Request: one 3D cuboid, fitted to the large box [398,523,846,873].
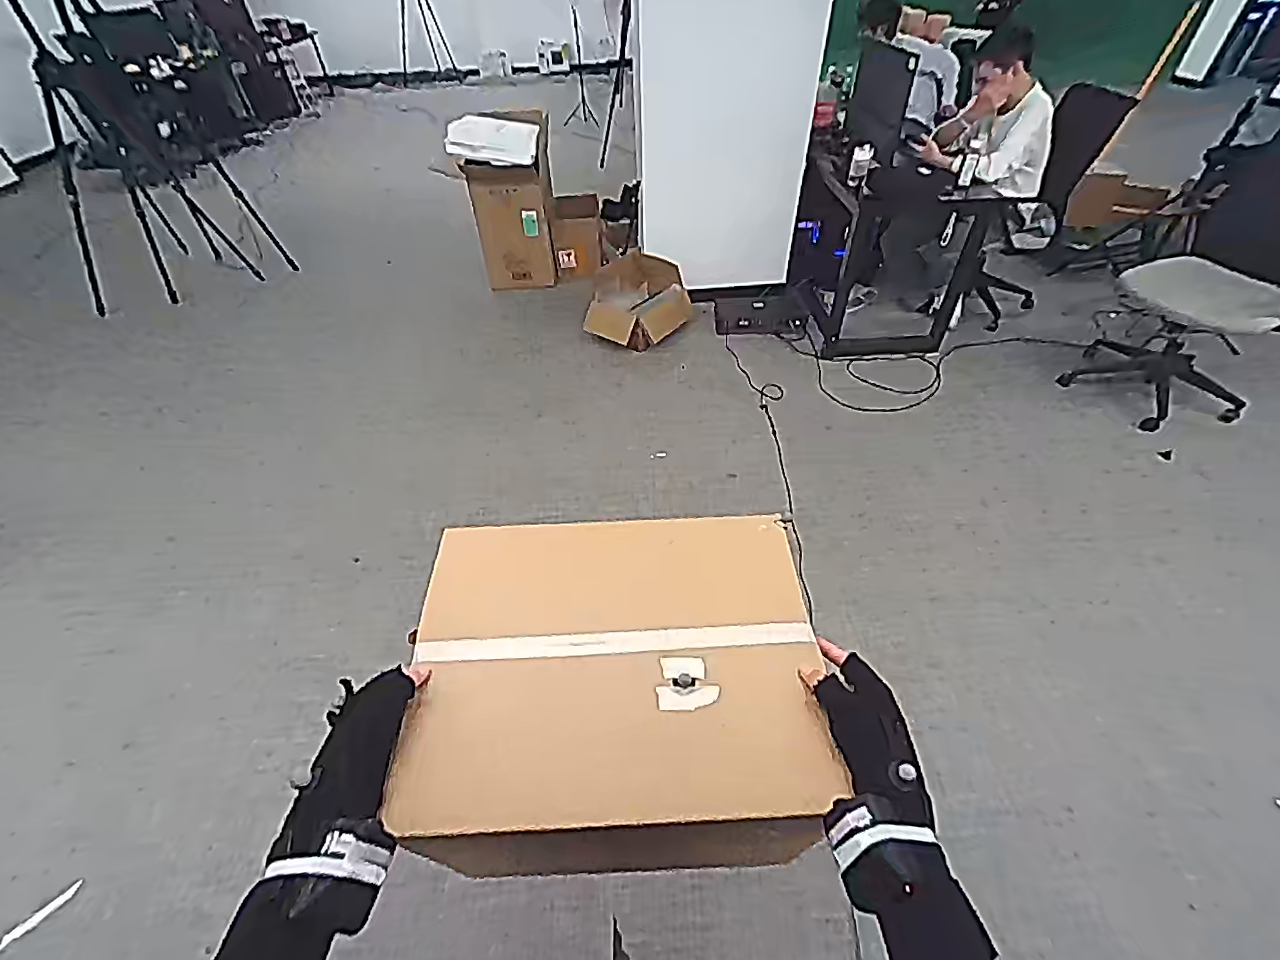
[{"bbox_3d":[-0.021,0.276,0.679,0.408,0.320,0.320,-2,49,-2],"label":"large box"}]
